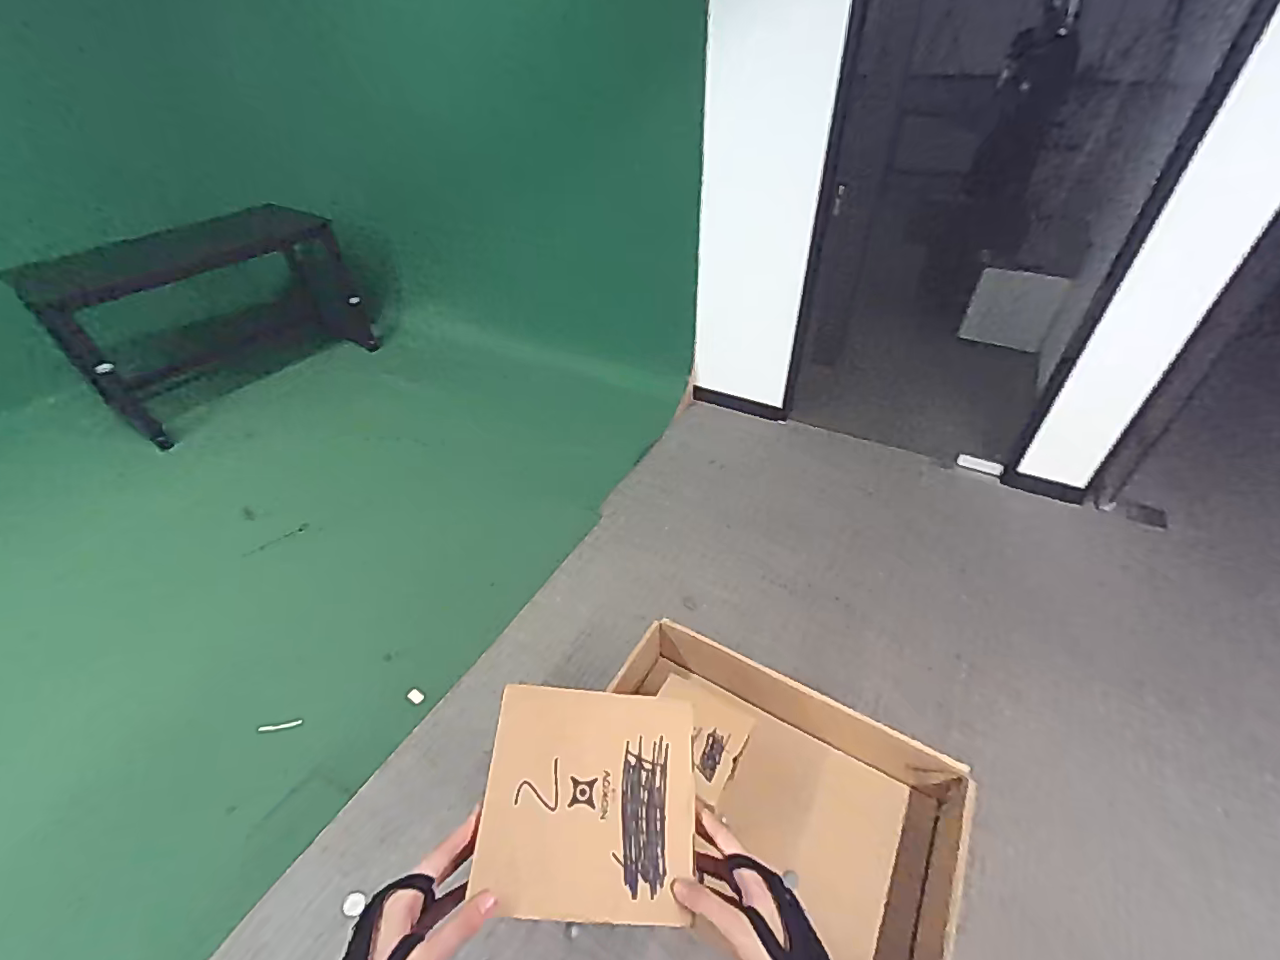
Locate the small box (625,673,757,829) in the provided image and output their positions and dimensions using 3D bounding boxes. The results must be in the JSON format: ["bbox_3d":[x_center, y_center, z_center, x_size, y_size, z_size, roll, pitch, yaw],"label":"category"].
[{"bbox_3d":[0.092,0.494,0.979,0.179,0.176,0.168,22,47,25],"label":"small box"}]
